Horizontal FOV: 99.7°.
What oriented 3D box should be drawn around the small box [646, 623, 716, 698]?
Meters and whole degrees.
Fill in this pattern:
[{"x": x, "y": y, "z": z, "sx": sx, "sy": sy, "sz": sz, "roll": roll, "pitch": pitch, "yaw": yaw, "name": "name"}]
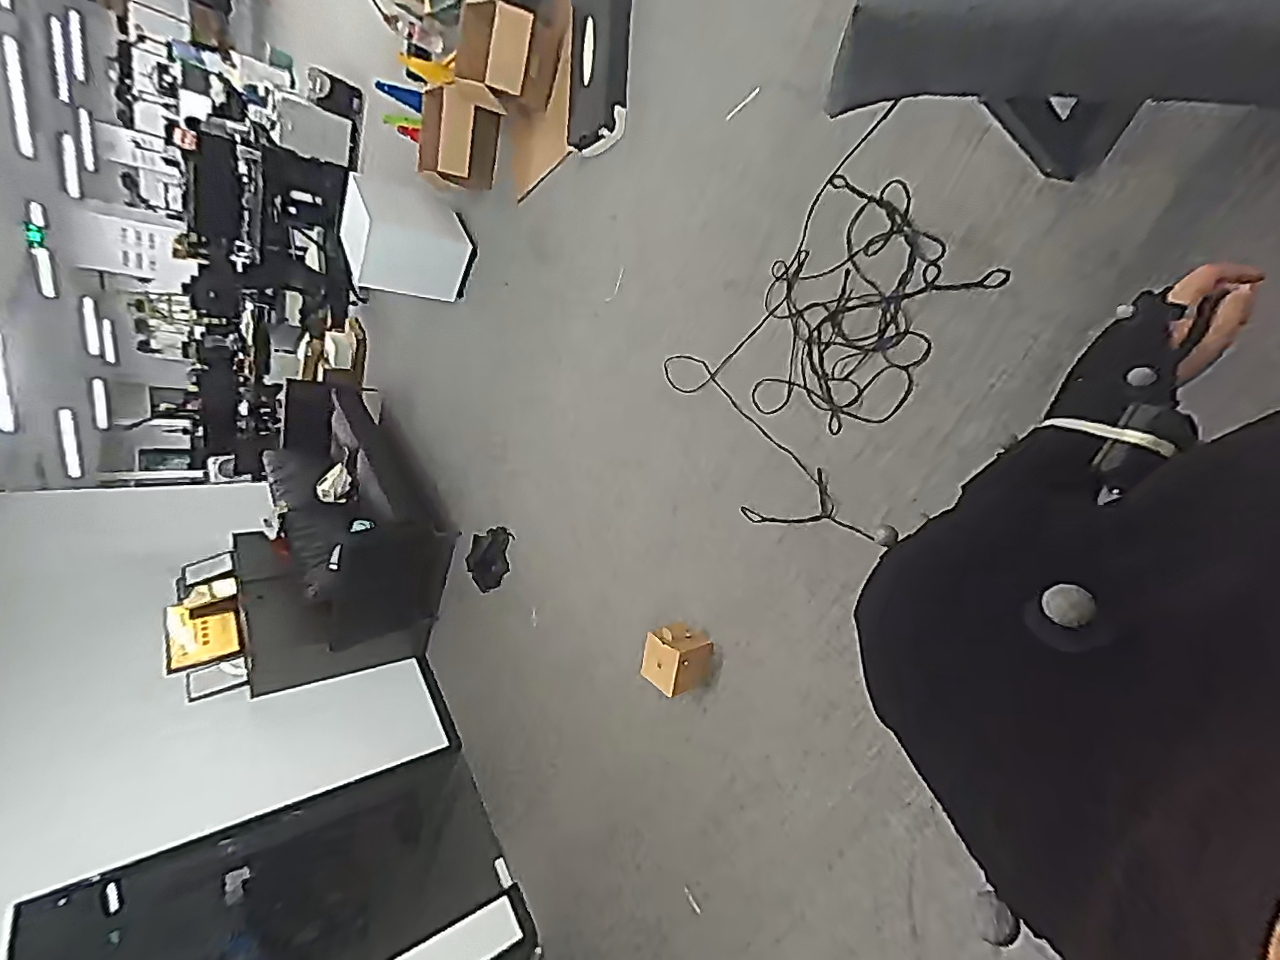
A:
[{"x": 0.148, "y": 0.635, "z": 1.921, "sx": 0.168, "sy": 0.176, "sz": 0.179, "roll": 22, "pitch": 108, "yaw": 47, "name": "small box"}]
